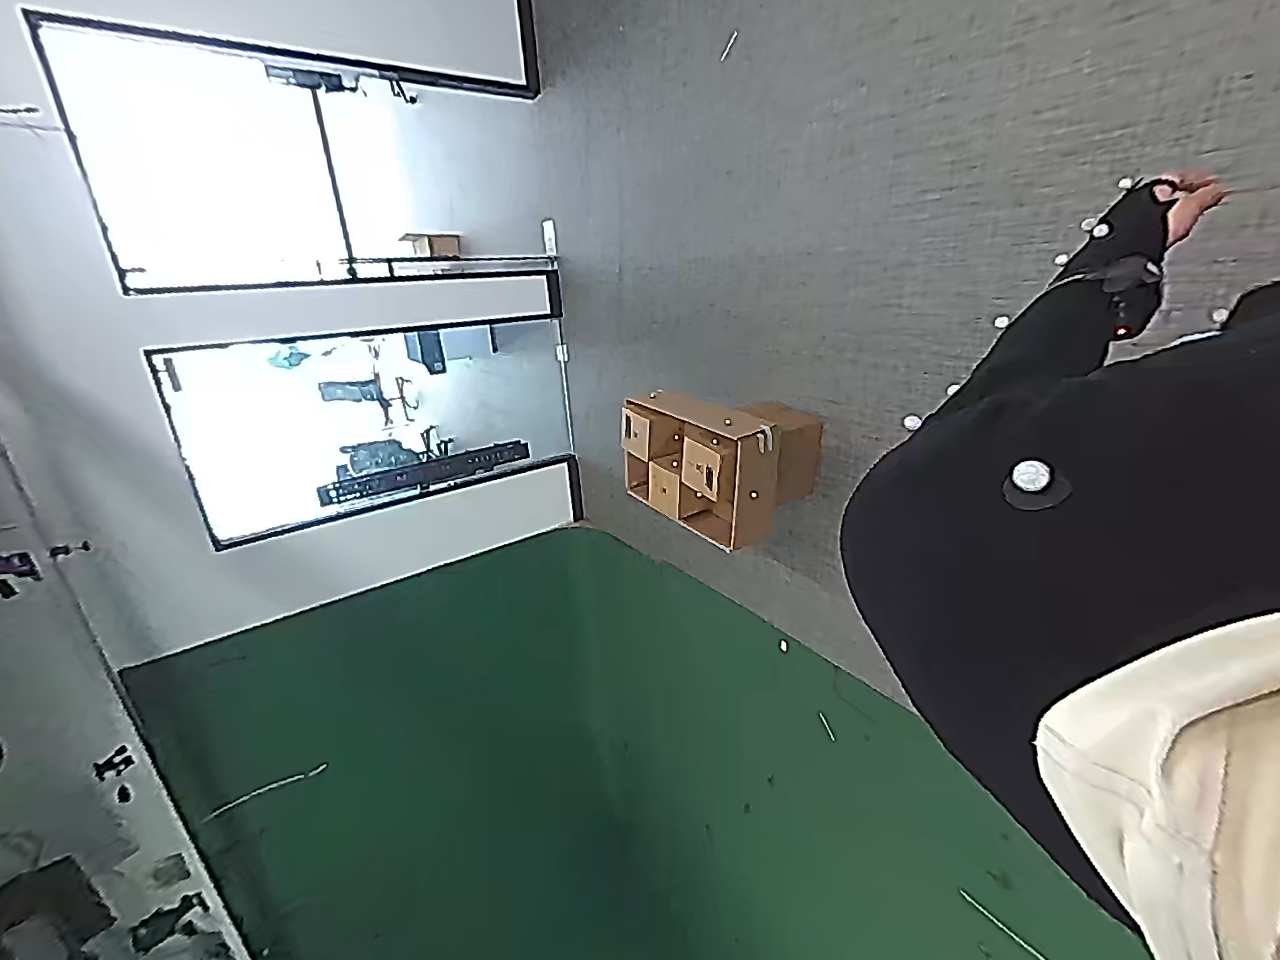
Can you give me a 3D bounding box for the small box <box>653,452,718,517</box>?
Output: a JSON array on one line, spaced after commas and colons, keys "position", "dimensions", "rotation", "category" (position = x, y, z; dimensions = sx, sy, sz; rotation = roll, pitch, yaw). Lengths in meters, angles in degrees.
[{"position": [0.166, 0.008, 1.958], "dimensions": [0.179, 0.176, 0.168], "rotation": [30, 127, 48], "category": "small box"}]
